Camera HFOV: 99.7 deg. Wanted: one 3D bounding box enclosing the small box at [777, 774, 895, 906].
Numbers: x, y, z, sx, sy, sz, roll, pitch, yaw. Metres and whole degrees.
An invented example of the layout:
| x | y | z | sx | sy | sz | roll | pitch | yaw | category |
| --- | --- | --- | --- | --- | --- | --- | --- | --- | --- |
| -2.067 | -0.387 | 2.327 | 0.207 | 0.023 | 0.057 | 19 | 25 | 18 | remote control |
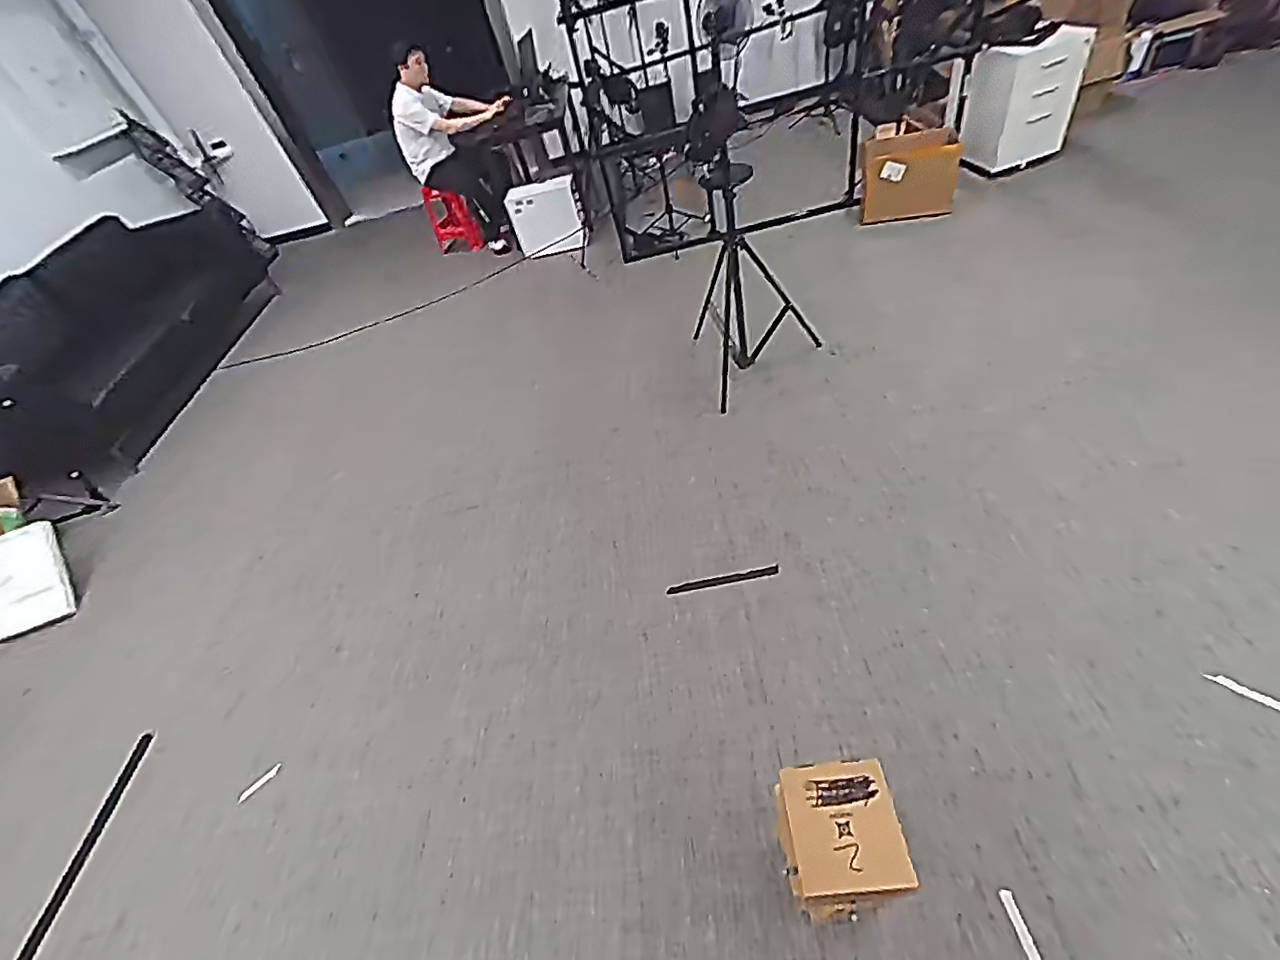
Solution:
| x | y | z | sx | sy | sz | roll | pitch | yaw | category |
| --- | --- | --- | --- | --- | --- | --- | --- | --- | --- |
| 0.359 | 0.684 | 1.025 | 0.168 | 0.176 | 0.179 | -11 | 46 | 7 | small box |

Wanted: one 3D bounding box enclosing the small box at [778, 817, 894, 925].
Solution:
| x | y | z | sx | sy | sz | roll | pitch | yaw | category |
| --- | --- | --- | --- | --- | --- | --- | --- | --- | --- |
| 0.401 | 0.797 | 1.135 | 0.168 | 0.176 | 0.179 | -20 | 45 | -1 | small box |
